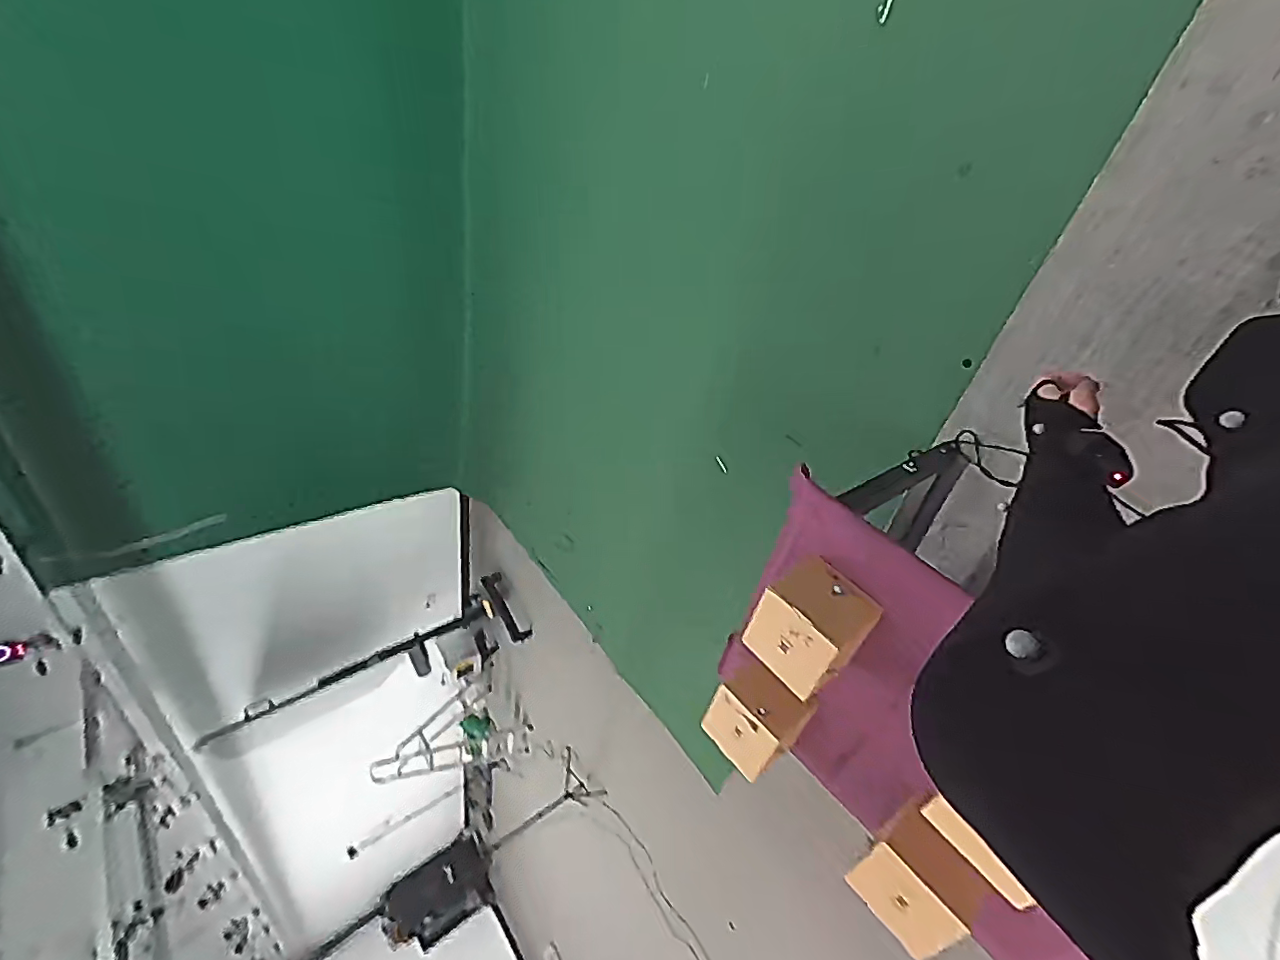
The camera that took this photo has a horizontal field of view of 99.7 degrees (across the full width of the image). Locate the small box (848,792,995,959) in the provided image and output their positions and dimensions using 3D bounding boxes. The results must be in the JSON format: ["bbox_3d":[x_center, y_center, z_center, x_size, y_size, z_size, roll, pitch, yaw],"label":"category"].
[{"bbox_3d":[0.538,0.743,1.025,0.168,0.176,0.179,42,132,33],"label":"small box"}]

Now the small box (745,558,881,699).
[{"bbox_3d":[0.344,0.290,1.076,0.168,0.176,0.179,42,135,32],"label":"small box"}]

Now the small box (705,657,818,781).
[{"bbox_3d":[0.283,0.547,1.259,0.168,0.176,0.179,40,131,33],"label":"small box"}]
